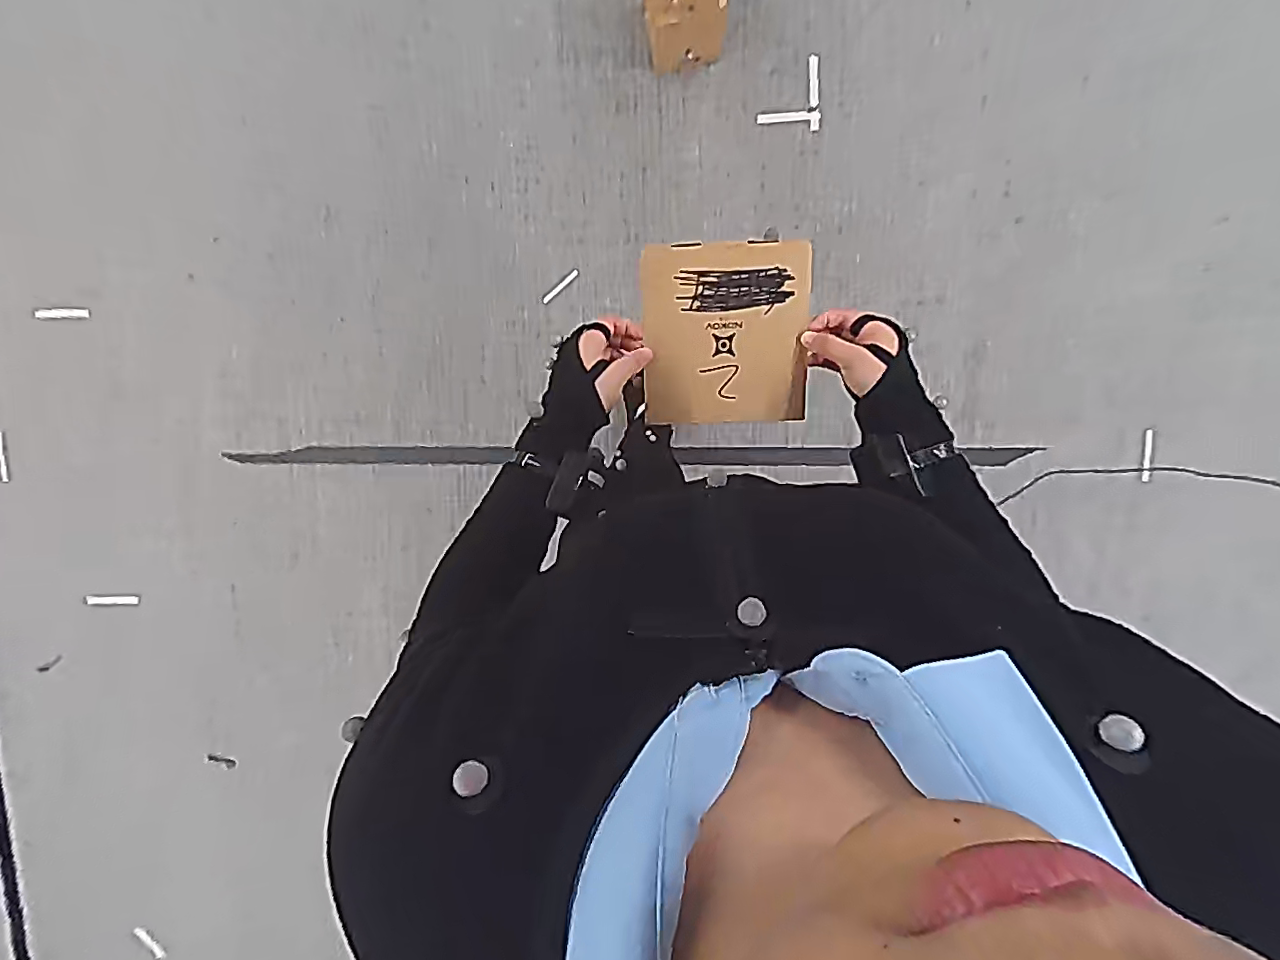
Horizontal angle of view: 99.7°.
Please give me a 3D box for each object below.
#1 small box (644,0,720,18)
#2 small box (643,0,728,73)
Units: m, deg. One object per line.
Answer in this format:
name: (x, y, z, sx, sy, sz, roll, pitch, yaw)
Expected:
small box: (0.089, -1.101, 1.104, 0.168, 0.176, 0.179, 0, 96, 1)
small box: (0.100, -1.112, 1.267, 0.168, 0.176, 0.179, -13, 96, 3)
